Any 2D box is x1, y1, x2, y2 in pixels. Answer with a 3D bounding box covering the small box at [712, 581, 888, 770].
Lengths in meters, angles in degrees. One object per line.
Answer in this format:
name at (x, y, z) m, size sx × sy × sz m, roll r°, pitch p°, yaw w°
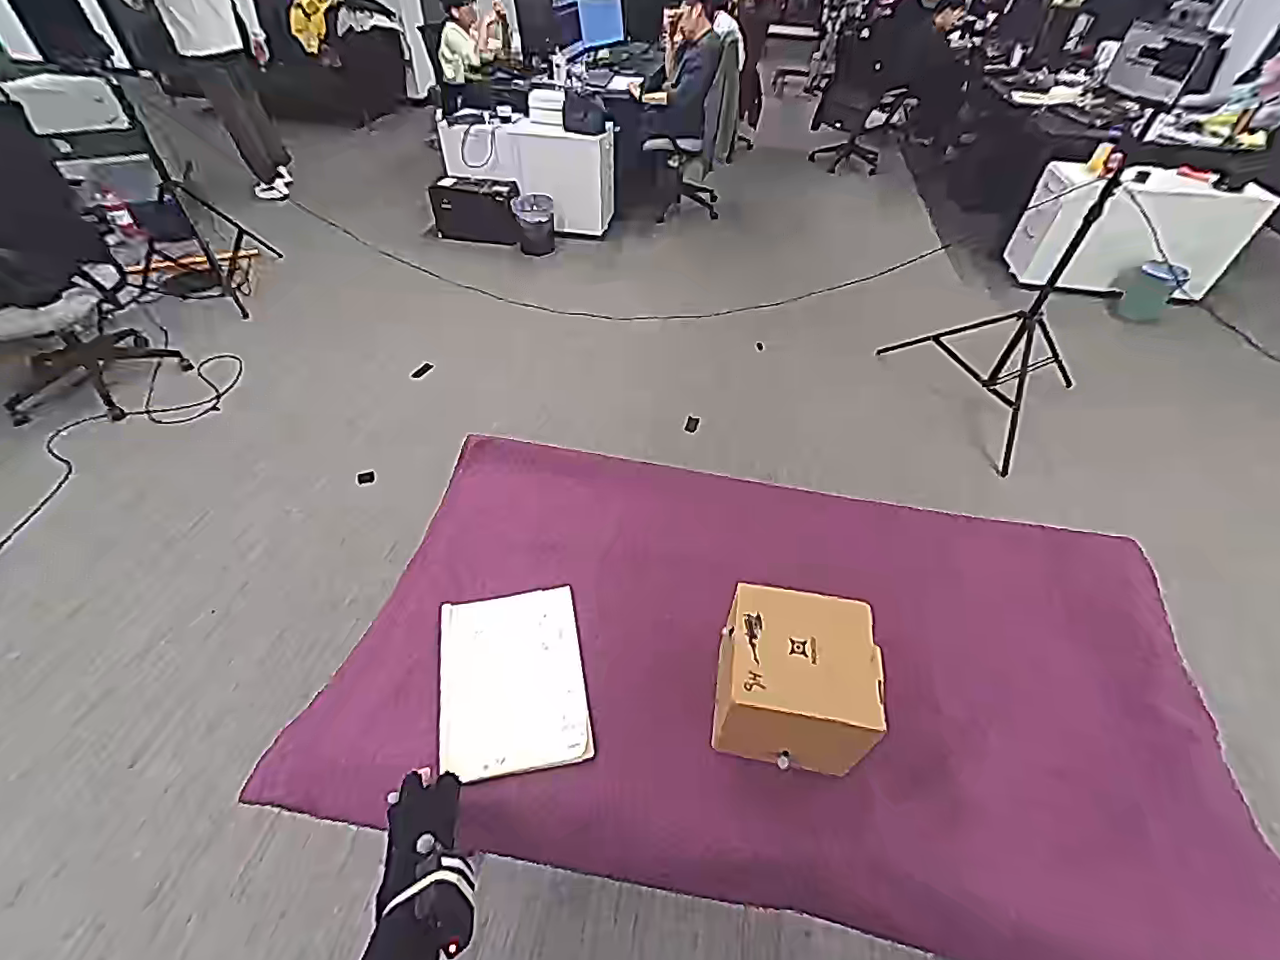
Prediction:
small box at (0.200, 0.261, 0.713) m, size 0.179 × 0.176 × 0.168 m, roll 9°, pitch 45°, yaw 6°
